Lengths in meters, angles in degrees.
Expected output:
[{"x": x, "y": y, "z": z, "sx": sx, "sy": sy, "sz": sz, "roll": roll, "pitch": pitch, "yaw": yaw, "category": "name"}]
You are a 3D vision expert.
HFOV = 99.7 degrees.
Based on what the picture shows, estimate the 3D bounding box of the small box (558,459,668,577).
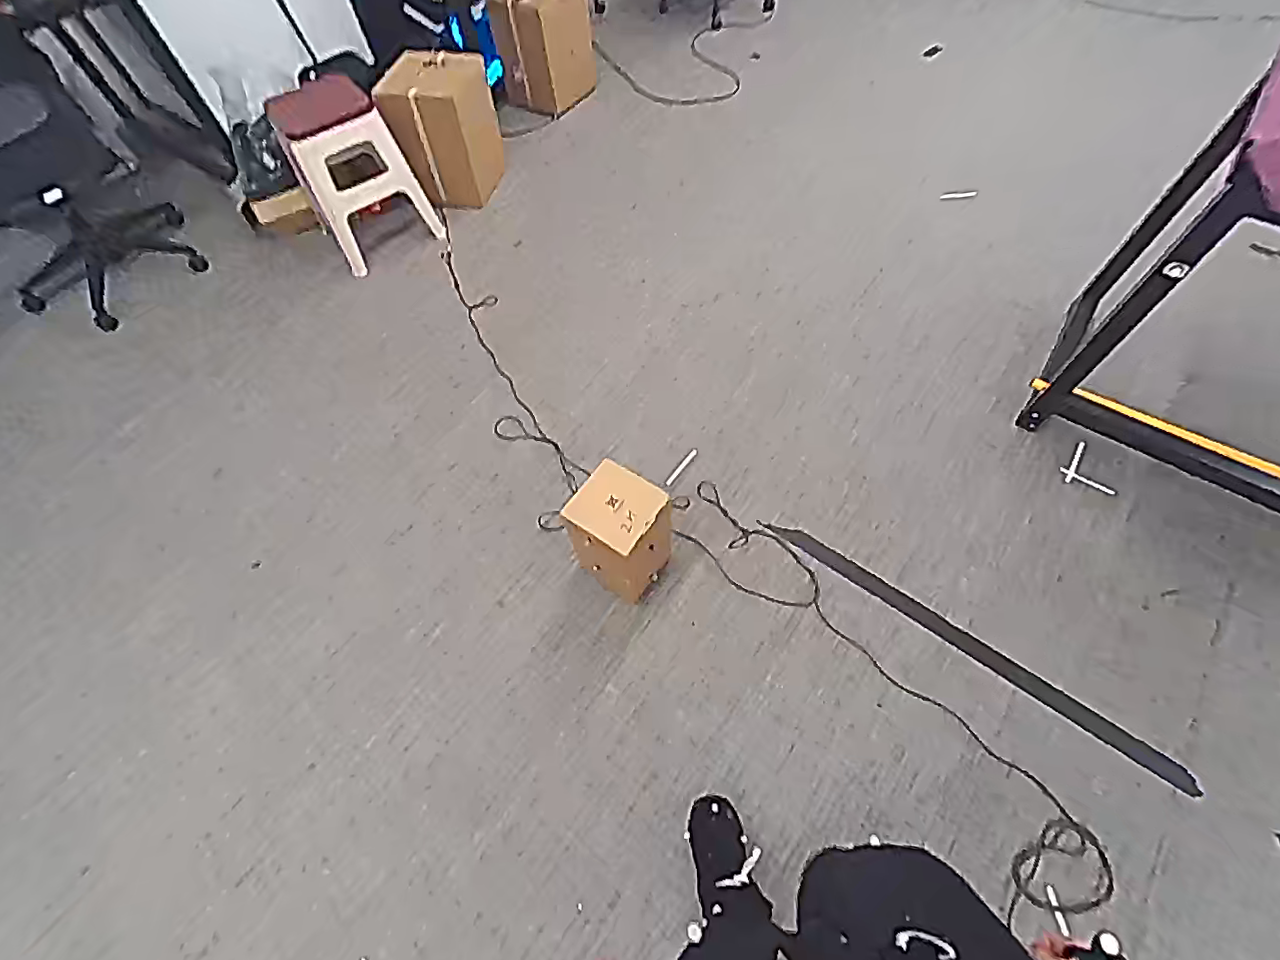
[{"x": -0.054, "y": 0.090, "z": 1.197, "sx": 0.179, "sy": 0.176, "sz": 0.168, "roll": 31, "pitch": 67, "yaw": 18, "category": "small box"}]

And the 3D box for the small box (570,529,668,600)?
[{"x": -0.047, "y": 0.171, "z": 1.341, "sx": 0.179, "sy": 0.176, "sz": 0.168, "roll": 33, "pitch": 67, "yaw": 18, "category": "small box"}]
